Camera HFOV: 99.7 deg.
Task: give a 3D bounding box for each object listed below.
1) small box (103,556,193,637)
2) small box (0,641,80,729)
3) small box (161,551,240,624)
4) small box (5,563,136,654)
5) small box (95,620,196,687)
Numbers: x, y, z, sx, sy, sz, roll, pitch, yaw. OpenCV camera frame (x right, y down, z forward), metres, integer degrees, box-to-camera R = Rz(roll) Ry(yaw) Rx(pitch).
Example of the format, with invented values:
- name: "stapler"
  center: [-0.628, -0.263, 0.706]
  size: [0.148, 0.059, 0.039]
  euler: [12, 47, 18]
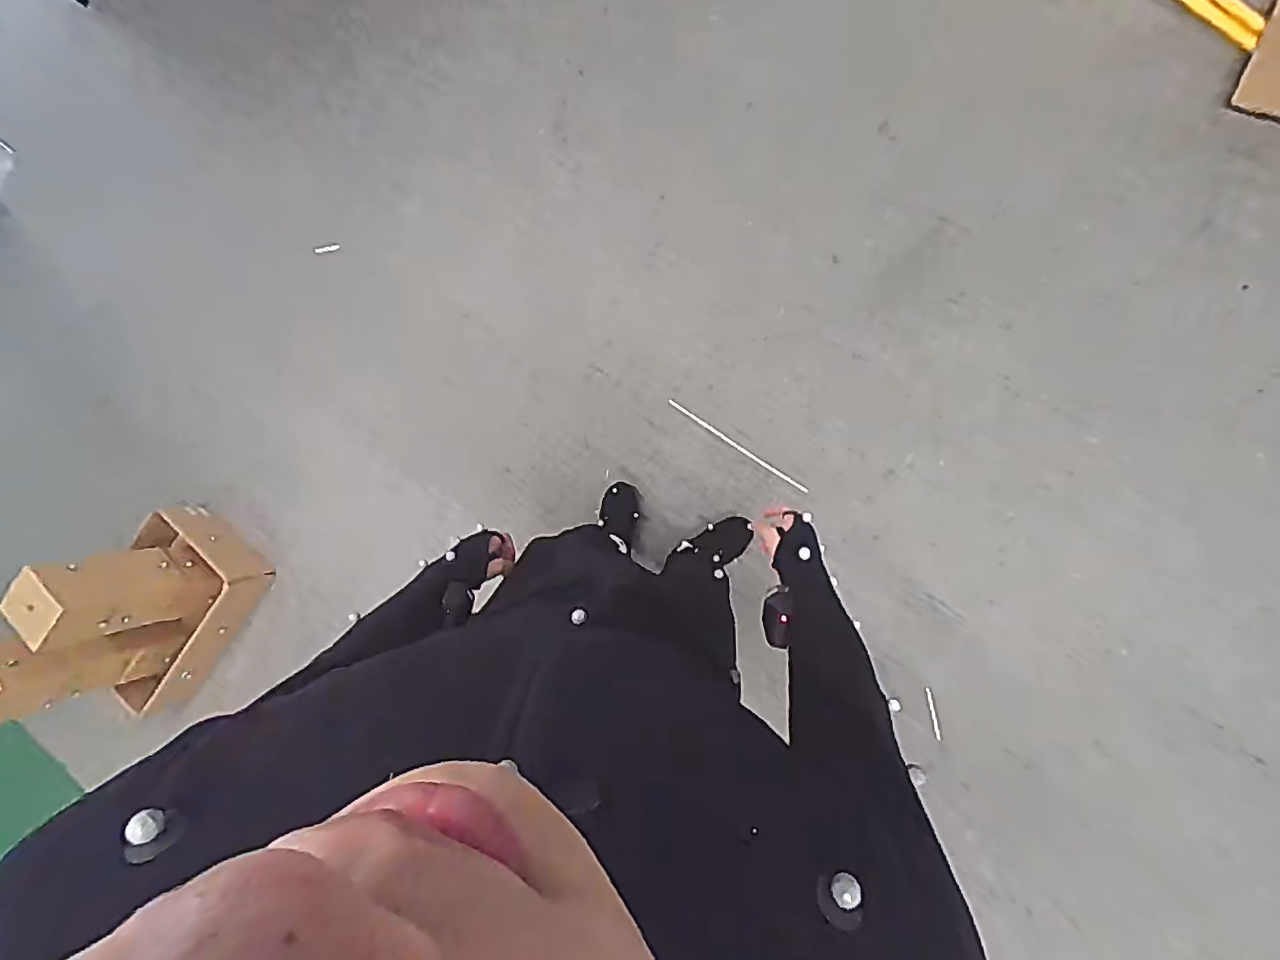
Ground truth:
- name: "small box"
  center: [-1.555, 0.351, 1.677]
  size: [0.179, 0.176, 0.168]
  euler: [42, 98, 10]
- name: "small box"
  center: [-1.788, 0.580, 1.558]
  size: [0.179, 0.176, 0.168]
  euler: [40, 97, 12]
- name: "small box"
  center: [-1.525, 0.356, 1.838]
  size: [0.179, 0.176, 0.168]
  euler: [40, 98, 9]
- name: "small box"
  center: [-1.590, 0.350, 1.518]
  size: [0.179, 0.176, 0.168]
  euler: [42, 99, 9]
- name: "small box"
  center: [-1.710, 0.578, 1.876]
  size: [0.179, 0.176, 0.168]
  euler: [40, 98, 11]
